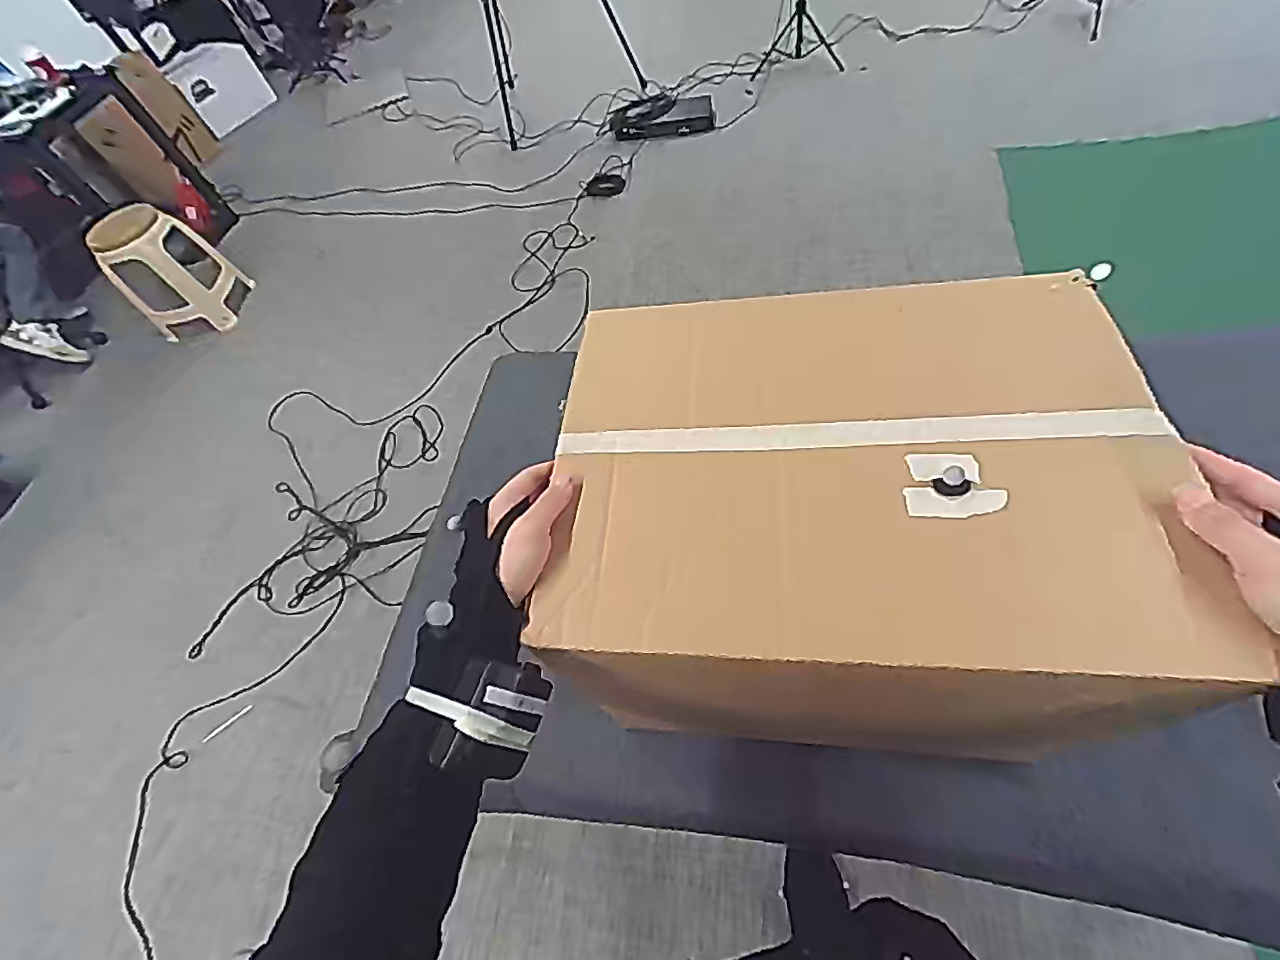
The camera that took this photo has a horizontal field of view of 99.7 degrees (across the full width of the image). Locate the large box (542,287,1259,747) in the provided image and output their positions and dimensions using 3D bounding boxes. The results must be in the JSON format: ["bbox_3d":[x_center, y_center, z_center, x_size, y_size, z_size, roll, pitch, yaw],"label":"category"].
[{"bbox_3d":[0.163,0.054,0.517,0.408,0.320,0.320,-1,57,10],"label":"large box"}]
